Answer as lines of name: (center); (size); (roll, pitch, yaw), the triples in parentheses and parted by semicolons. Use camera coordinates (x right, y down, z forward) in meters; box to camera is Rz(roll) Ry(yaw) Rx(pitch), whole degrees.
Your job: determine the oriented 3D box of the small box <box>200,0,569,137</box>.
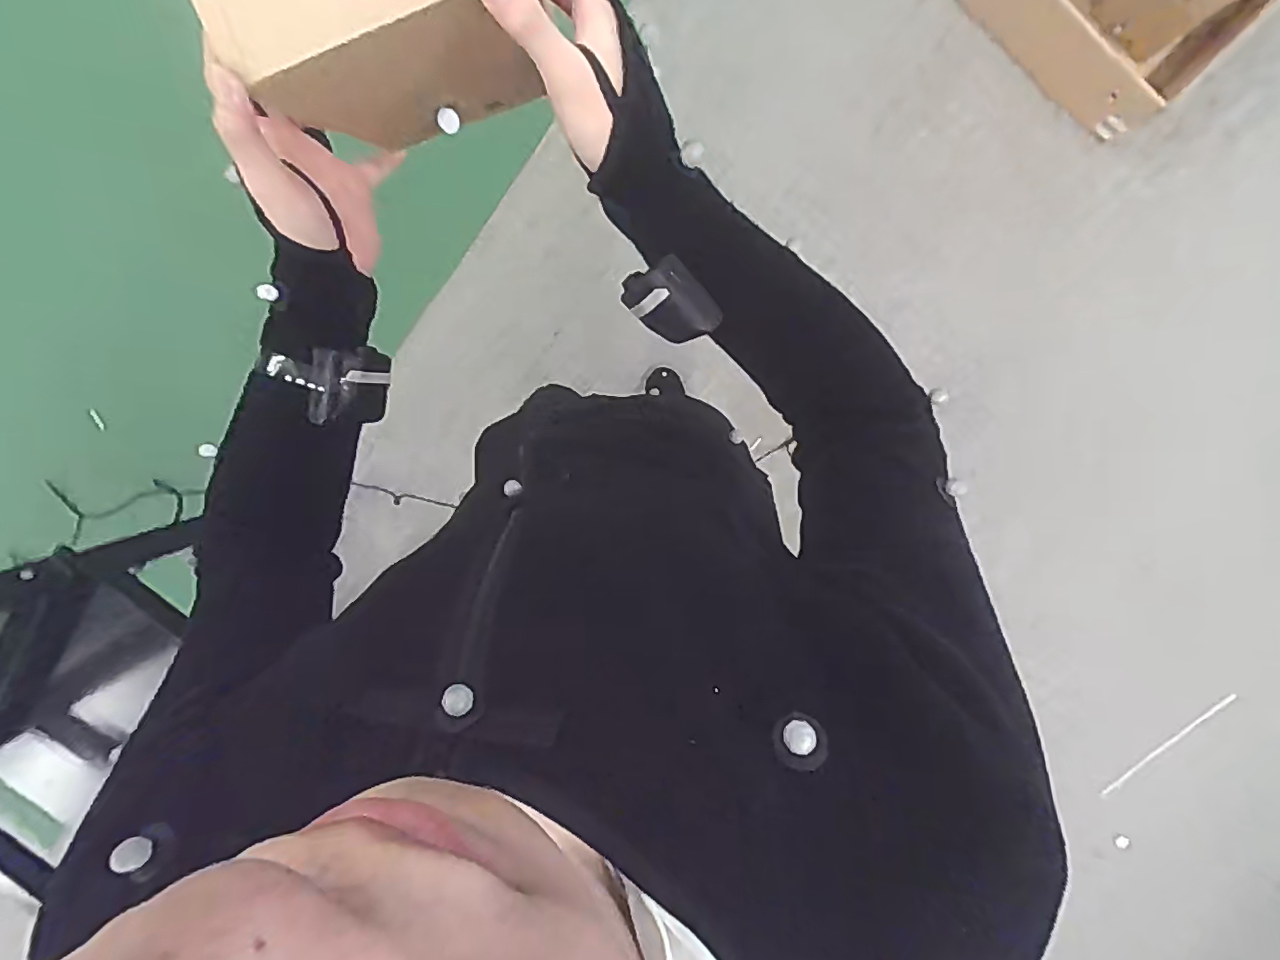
small box: (-0.158, -0.347, 0.333); (0.168, 0.176, 0.179); (-11, 109, 12)
